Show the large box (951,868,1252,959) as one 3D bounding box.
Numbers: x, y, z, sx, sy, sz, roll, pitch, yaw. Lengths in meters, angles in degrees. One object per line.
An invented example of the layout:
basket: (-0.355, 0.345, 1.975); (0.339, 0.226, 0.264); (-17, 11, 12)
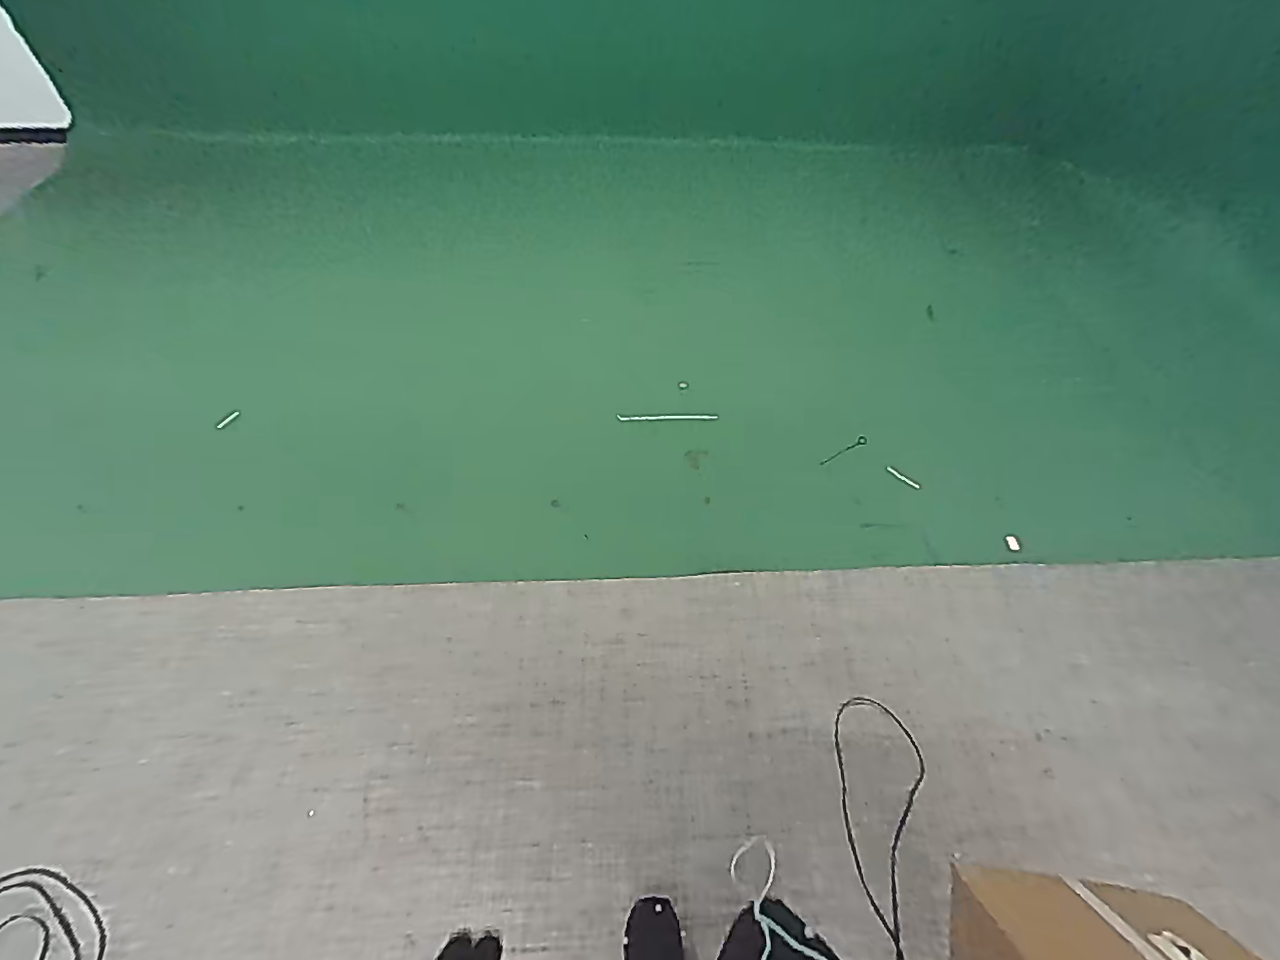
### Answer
large box: (0.580, 0.714, 0.575); (0.320, 0.408, 0.320); (6, 83, 8)
